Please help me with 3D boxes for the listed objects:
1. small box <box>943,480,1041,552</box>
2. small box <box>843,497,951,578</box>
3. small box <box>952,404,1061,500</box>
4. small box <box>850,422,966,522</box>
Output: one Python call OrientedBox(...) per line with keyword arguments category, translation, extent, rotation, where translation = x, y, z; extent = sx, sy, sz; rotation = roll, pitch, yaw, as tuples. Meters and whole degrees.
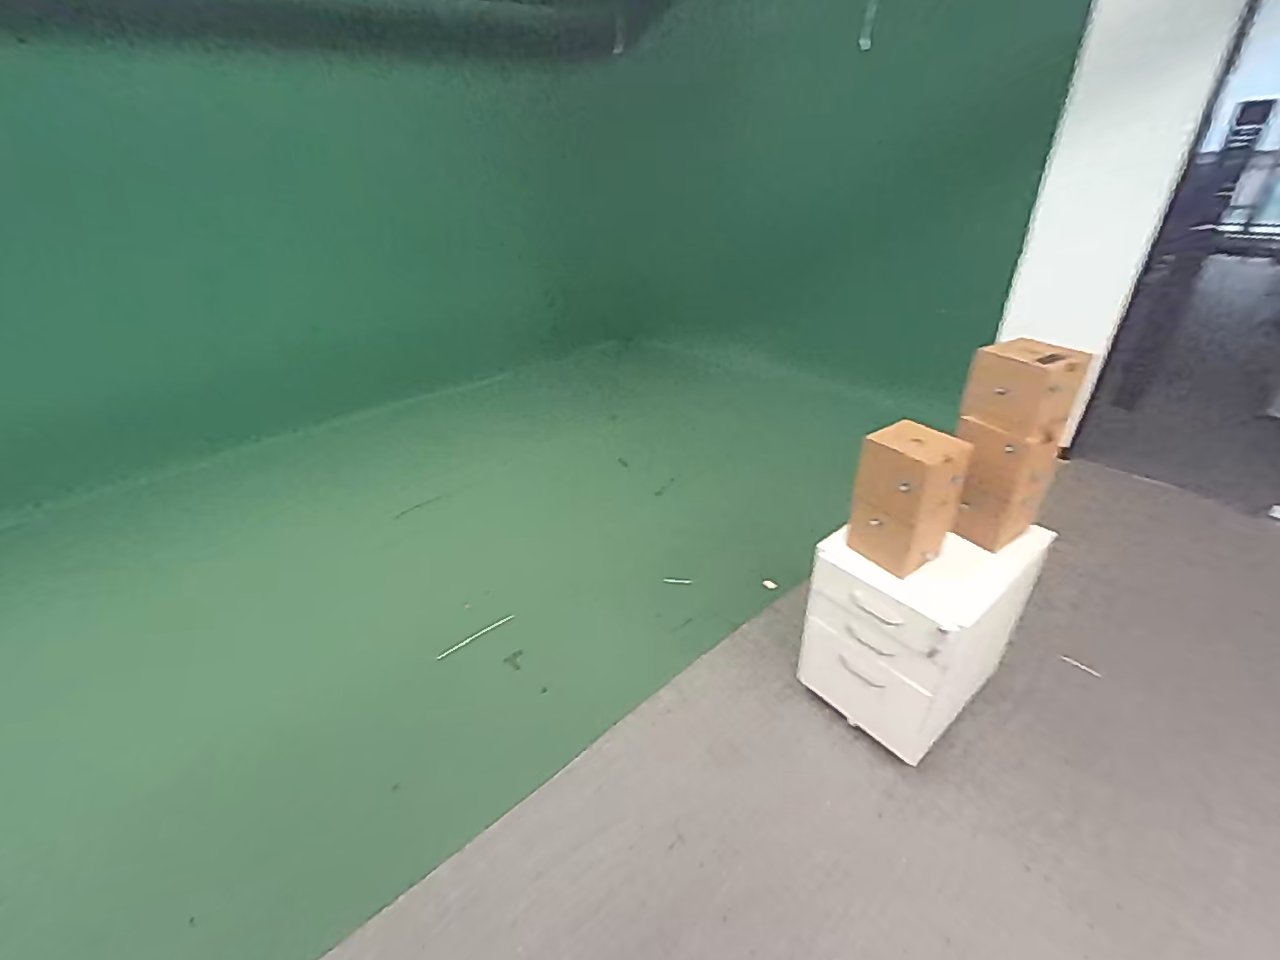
OrientedBox(category="small box", translation=(0.923, 0.065, 1.459), extent=(0.168, 0.176, 0.179), rotation=(-20, 35, -25))
OrientedBox(category="small box", translation=(0.652, 0.121, 1.395), extent=(0.168, 0.176, 0.179), rotation=(-20, 37, -26))
OrientedBox(category="small box", translation=(0.908, -0.073, 1.376), extent=(0.168, 0.176, 0.179), rotation=(-21, 36, -25))
OrientedBox(category="small box", translation=(0.641, -0.017, 1.310), extent=(0.168, 0.176, 0.179), rotation=(-20, 35, -28))
